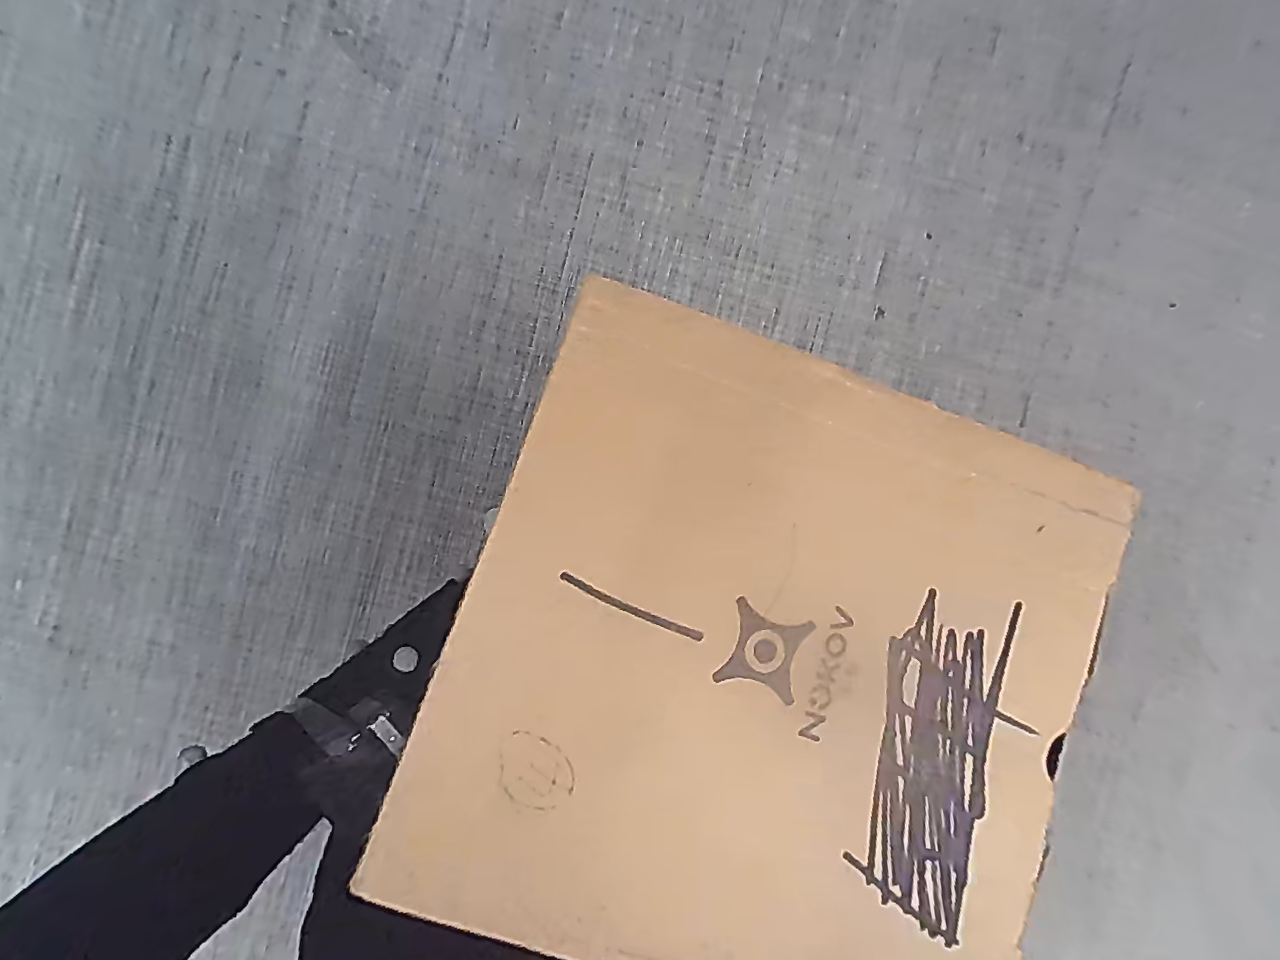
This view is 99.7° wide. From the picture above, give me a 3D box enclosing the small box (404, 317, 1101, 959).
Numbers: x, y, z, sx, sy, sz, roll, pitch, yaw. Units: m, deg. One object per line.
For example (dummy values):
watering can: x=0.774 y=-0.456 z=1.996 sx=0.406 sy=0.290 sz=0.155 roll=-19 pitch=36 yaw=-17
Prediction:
small box: x=0.032 y=0.060 z=0.233 sx=0.179 sy=0.176 sz=0.168 roll=17 pitch=83 yaw=-7
